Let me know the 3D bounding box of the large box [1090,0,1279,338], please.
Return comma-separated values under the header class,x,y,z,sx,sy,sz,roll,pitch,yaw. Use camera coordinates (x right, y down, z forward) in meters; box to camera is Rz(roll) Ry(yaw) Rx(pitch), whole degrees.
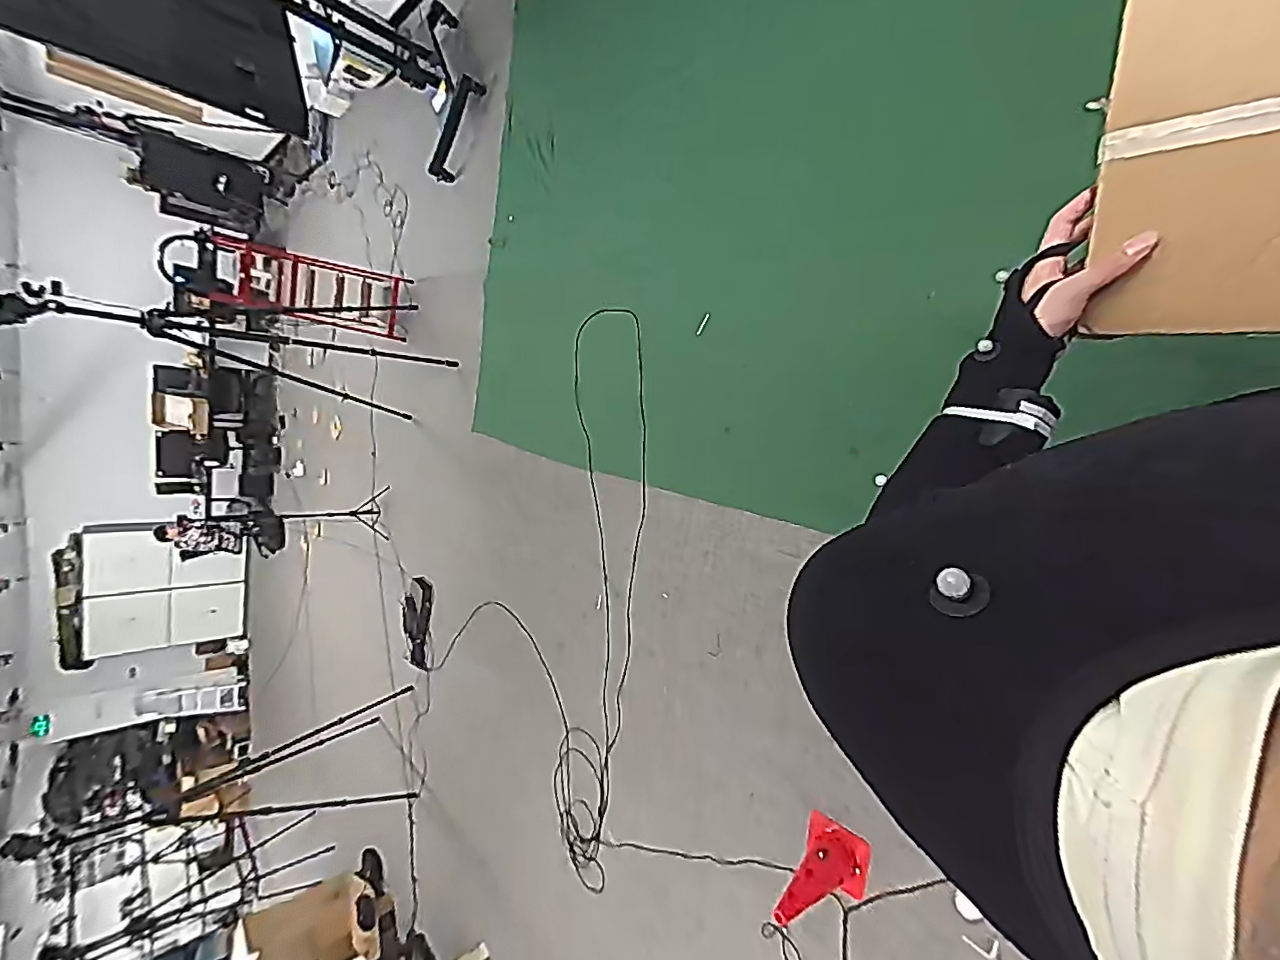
class,x,y,z,sx,sy,sz,roll,pitch,yaw
large box,0.650,-0.296,0.429,0.408,0.320,0.320,12,116,43
